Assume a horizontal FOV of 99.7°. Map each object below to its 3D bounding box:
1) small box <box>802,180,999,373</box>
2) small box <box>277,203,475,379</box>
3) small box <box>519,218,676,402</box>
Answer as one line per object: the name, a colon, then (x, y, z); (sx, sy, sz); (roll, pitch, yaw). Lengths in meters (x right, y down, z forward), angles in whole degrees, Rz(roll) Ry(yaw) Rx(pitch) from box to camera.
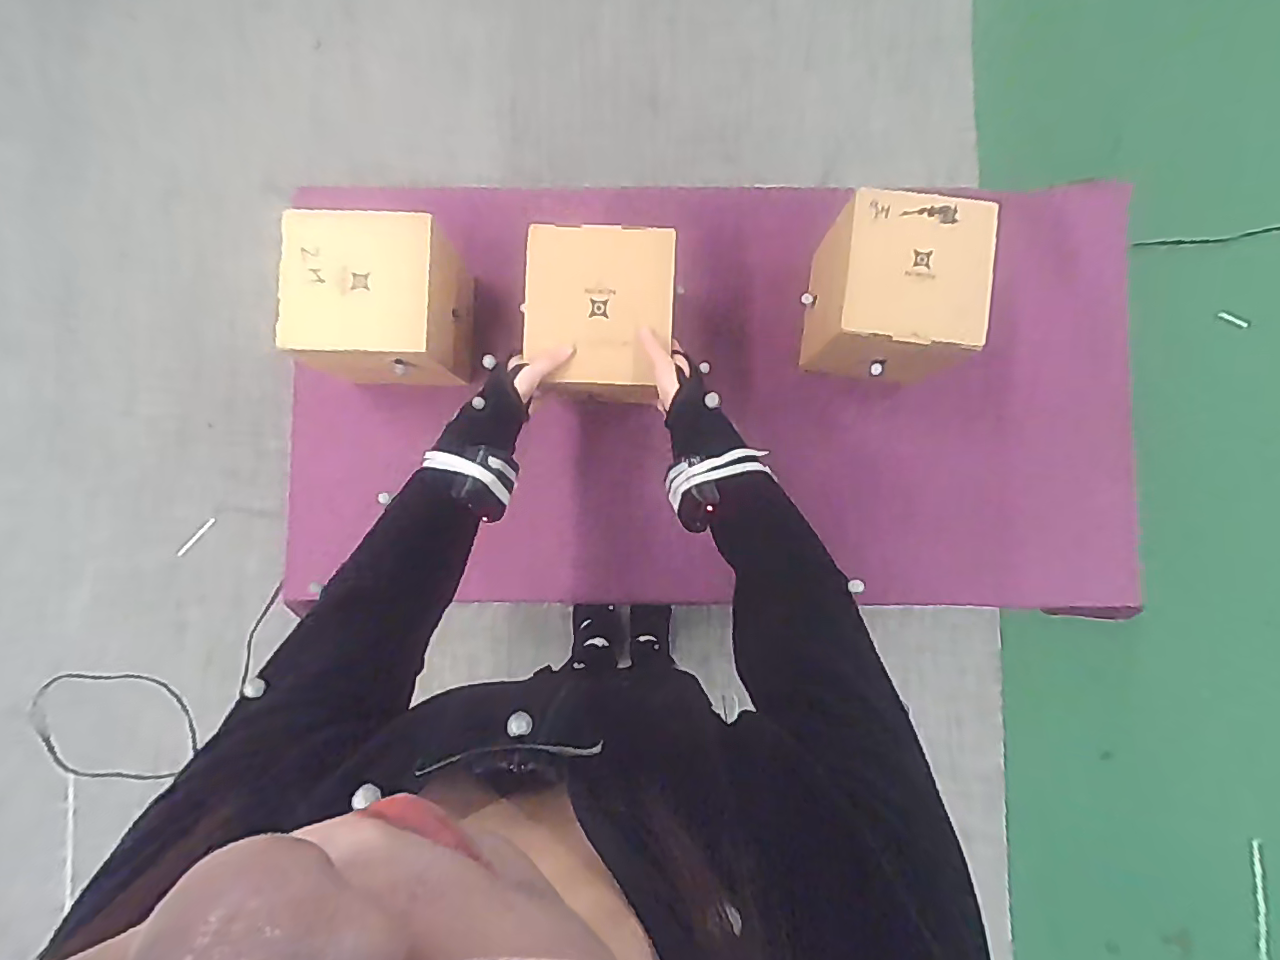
small box: (0.318, -0.246, 0.696); (0.168, 0.176, 0.179); (8, 88, 1)
small box: (-0.327, -0.232, 0.704); (0.179, 0.176, 0.168); (2, 87, 1)
small box: (-0.046, -0.199, 0.673); (0.168, 0.176, 0.179); (3, 92, 2)
